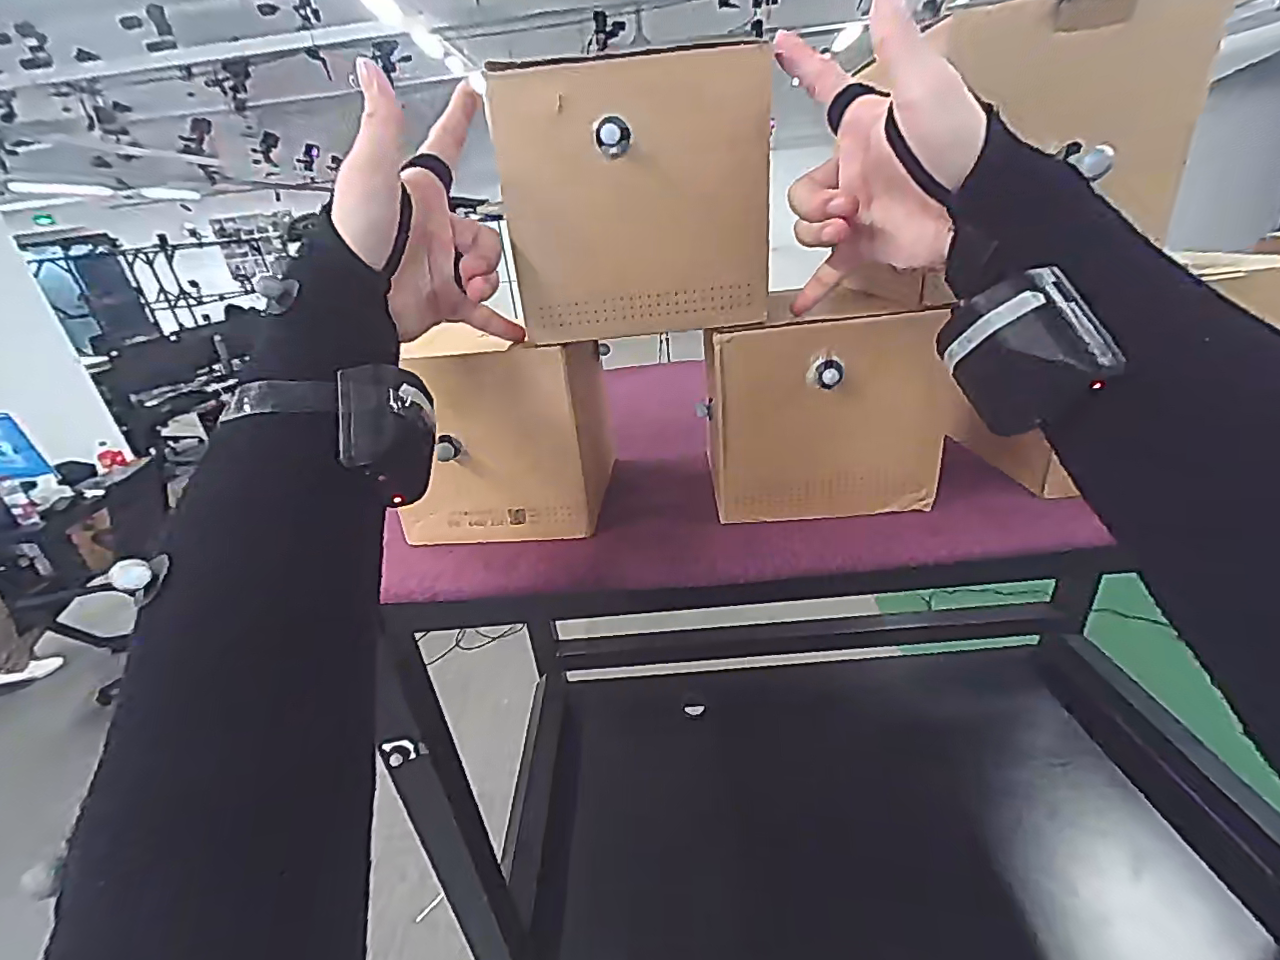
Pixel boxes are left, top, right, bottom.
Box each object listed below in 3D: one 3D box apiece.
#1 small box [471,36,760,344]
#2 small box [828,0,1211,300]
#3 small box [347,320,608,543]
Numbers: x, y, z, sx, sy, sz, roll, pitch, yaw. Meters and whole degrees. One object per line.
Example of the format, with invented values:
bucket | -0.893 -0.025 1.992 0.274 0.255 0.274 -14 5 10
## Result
small box | -0.009 -0.209 0.426 0.179 0.176 0.168 -6 25 1
small box | 0.255 -0.238 0.415 0.168 0.176 0.179 -6 25 0
small box | -0.127 -0.050 0.507 0.168 0.176 0.179 -4 24 6
